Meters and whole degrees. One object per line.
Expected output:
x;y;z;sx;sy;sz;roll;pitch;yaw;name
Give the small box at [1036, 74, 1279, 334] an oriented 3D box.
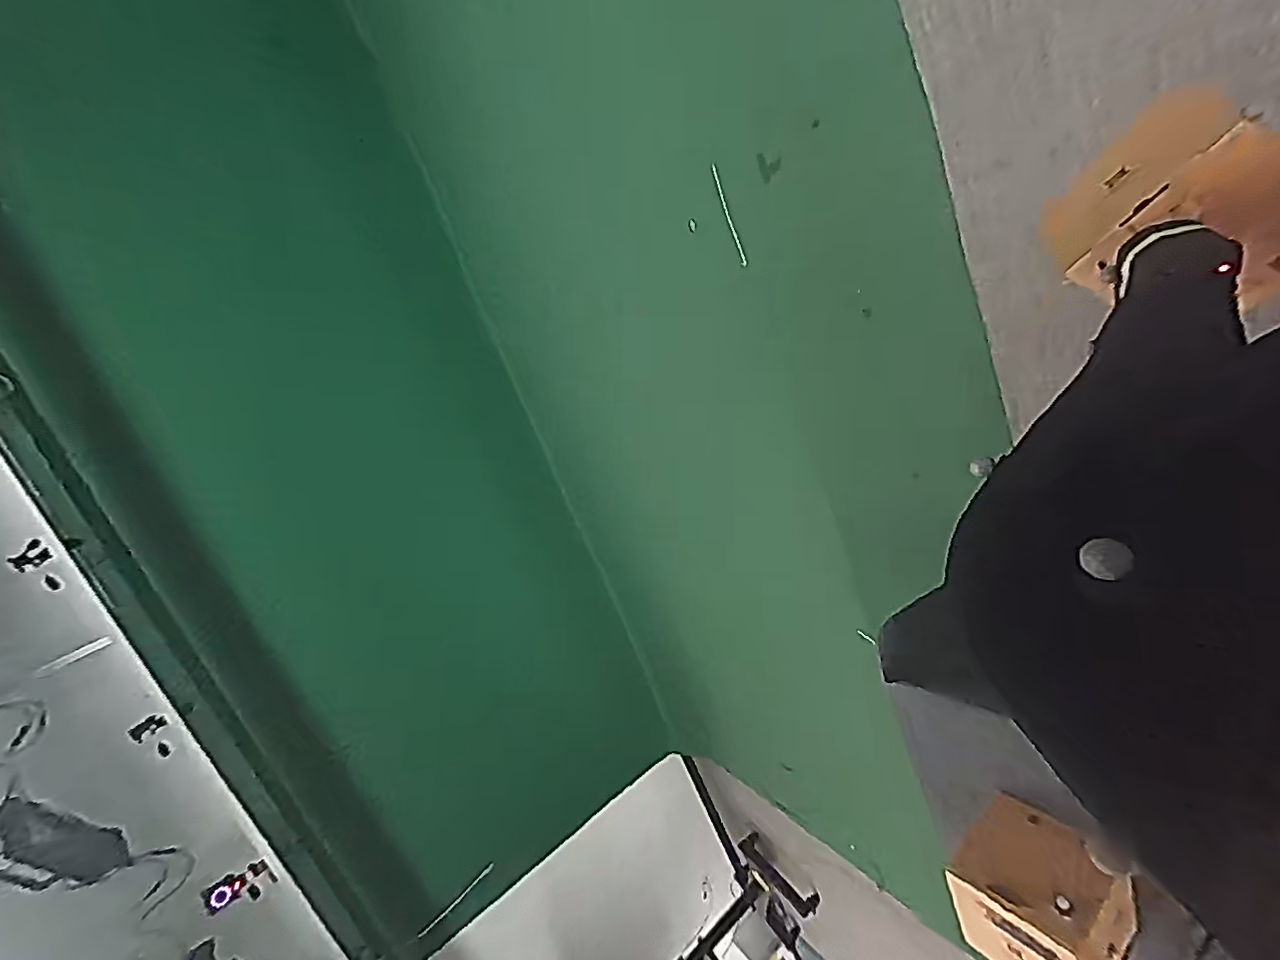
0.585;-0.292;0.588;0.176;0.179;0.168;29;138;-7;small box
